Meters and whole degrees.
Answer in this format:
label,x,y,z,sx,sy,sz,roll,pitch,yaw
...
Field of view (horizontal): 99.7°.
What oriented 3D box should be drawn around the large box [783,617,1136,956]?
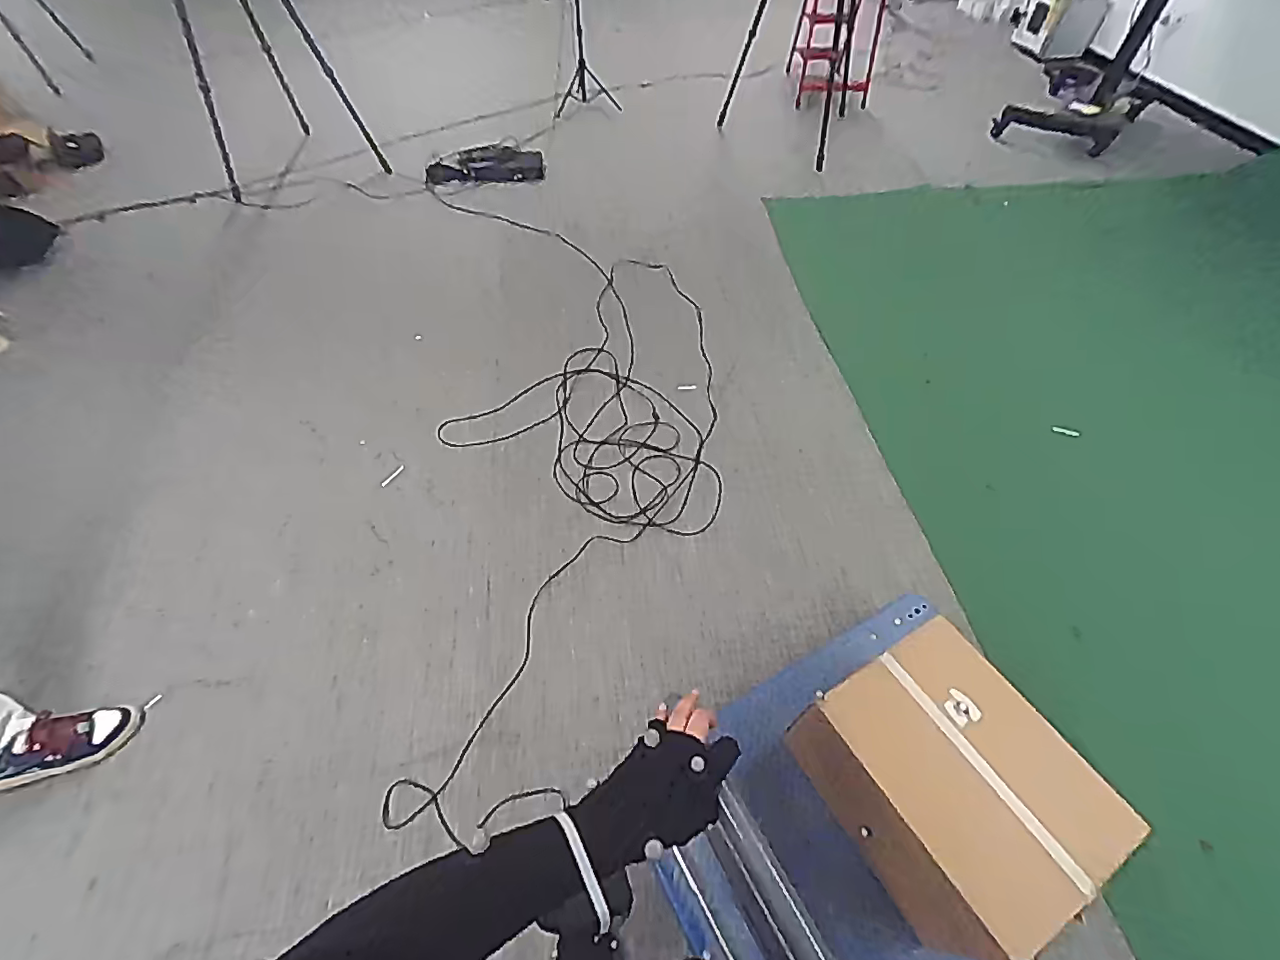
label,x,y,z,sx,sy,sz,roll,pitch,yaw
large box,0.535,0.546,1.003,0.320,0.320,0.408,-26,57,-18
